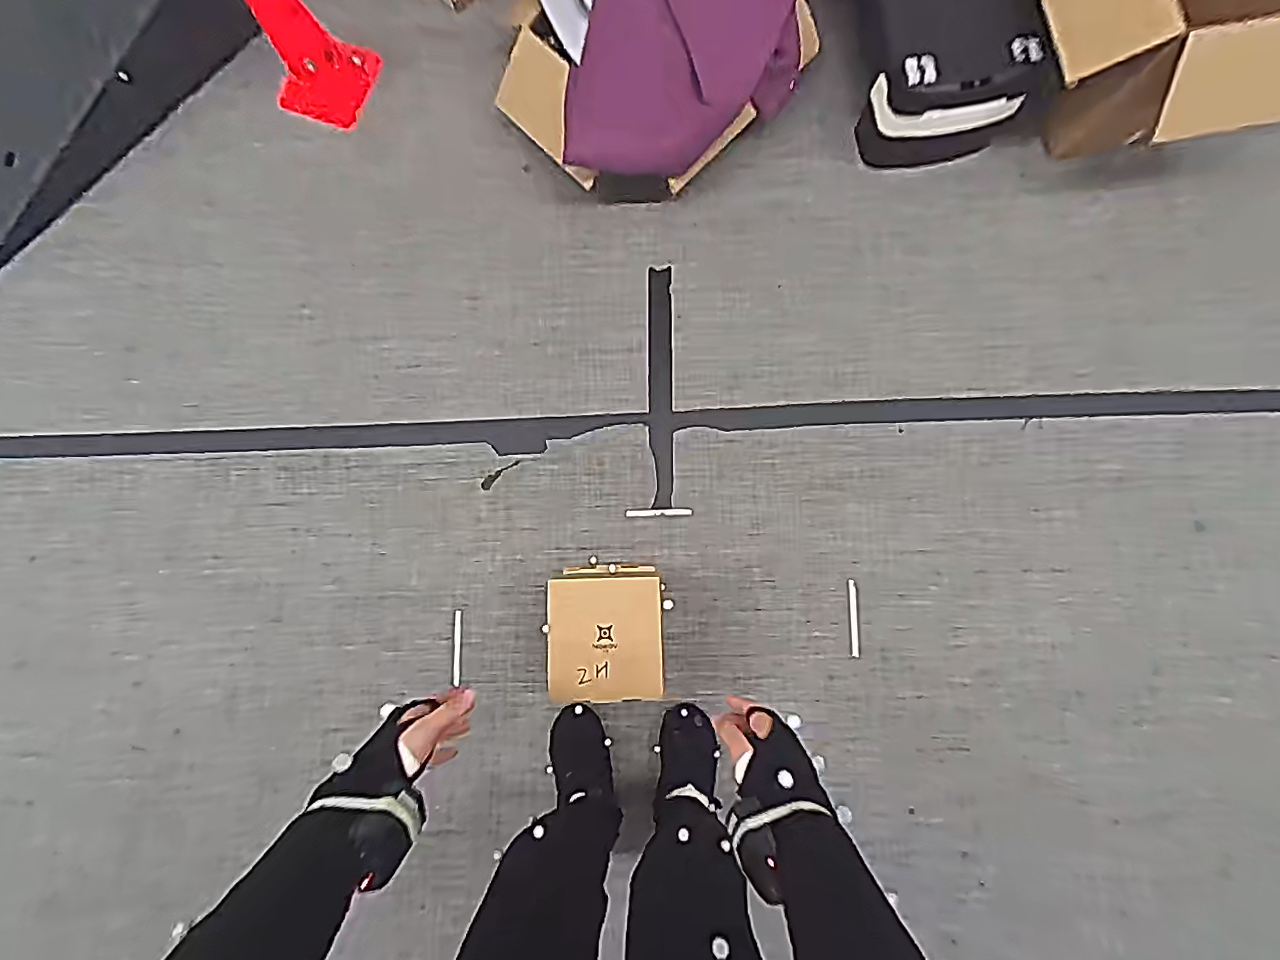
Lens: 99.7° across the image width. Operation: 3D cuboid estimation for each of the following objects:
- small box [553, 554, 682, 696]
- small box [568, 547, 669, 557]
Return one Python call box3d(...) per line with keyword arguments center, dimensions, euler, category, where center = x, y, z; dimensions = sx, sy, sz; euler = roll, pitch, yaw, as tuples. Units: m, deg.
box3d(center=(-0.028, 0.195, 0.771), dimensions=(0.168, 0.176, 0.179), euler=(-2, 84, 2), category="small box")
box3d(center=(-0.031, 0.206, 0.937), dimensions=(0.168, 0.176, 0.179), euler=(-3, 85, 2), category="small box")
